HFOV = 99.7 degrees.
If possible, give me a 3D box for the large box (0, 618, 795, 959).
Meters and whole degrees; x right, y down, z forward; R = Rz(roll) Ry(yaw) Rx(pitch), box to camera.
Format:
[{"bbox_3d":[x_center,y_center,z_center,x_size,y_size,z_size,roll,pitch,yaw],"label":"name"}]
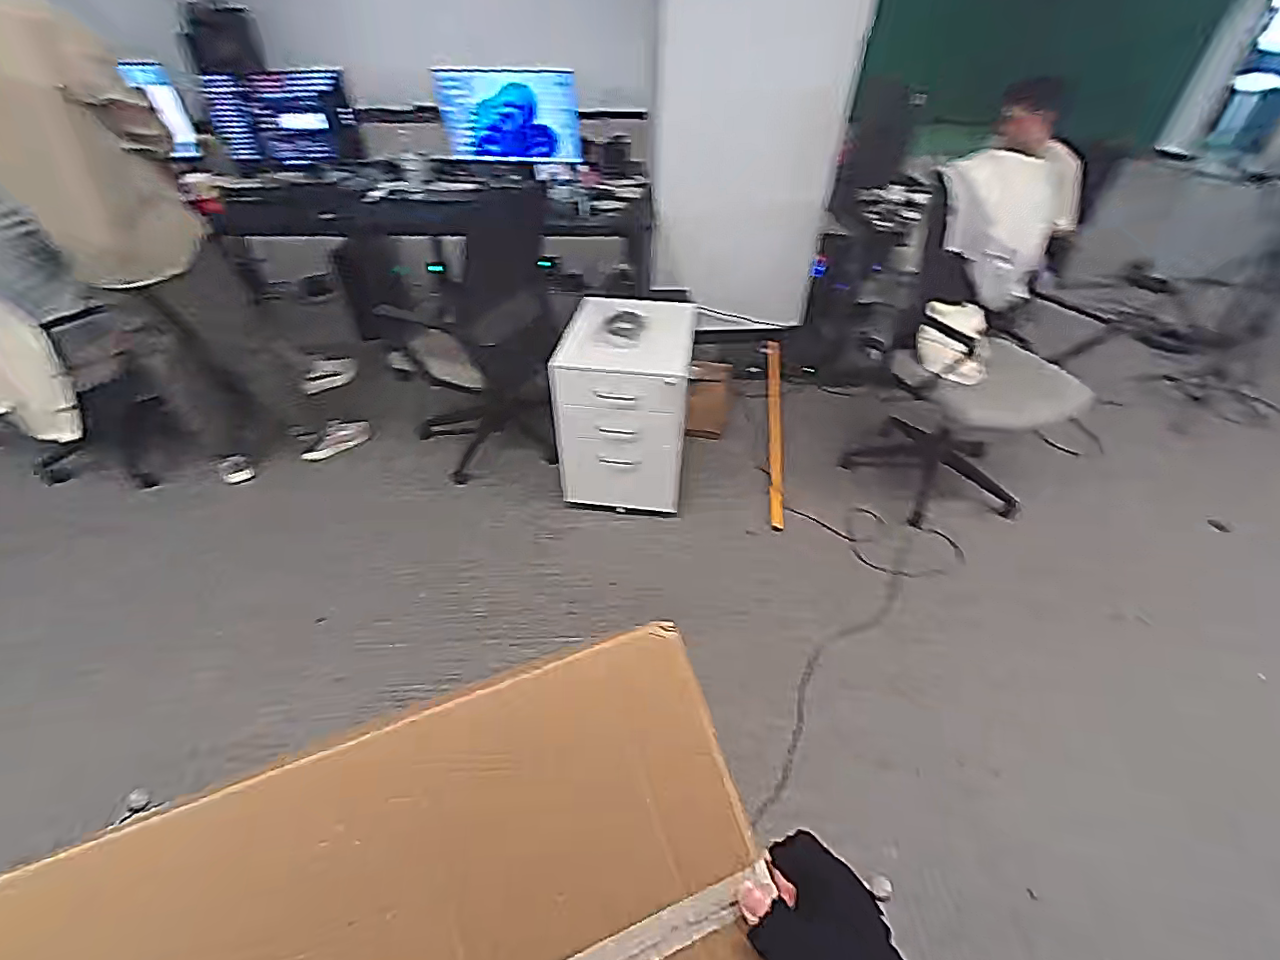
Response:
[{"bbox_3d":[-0.135,0.334,0.422,0.408,0.320,0.320,-18,78,-14],"label":"large box"}]
